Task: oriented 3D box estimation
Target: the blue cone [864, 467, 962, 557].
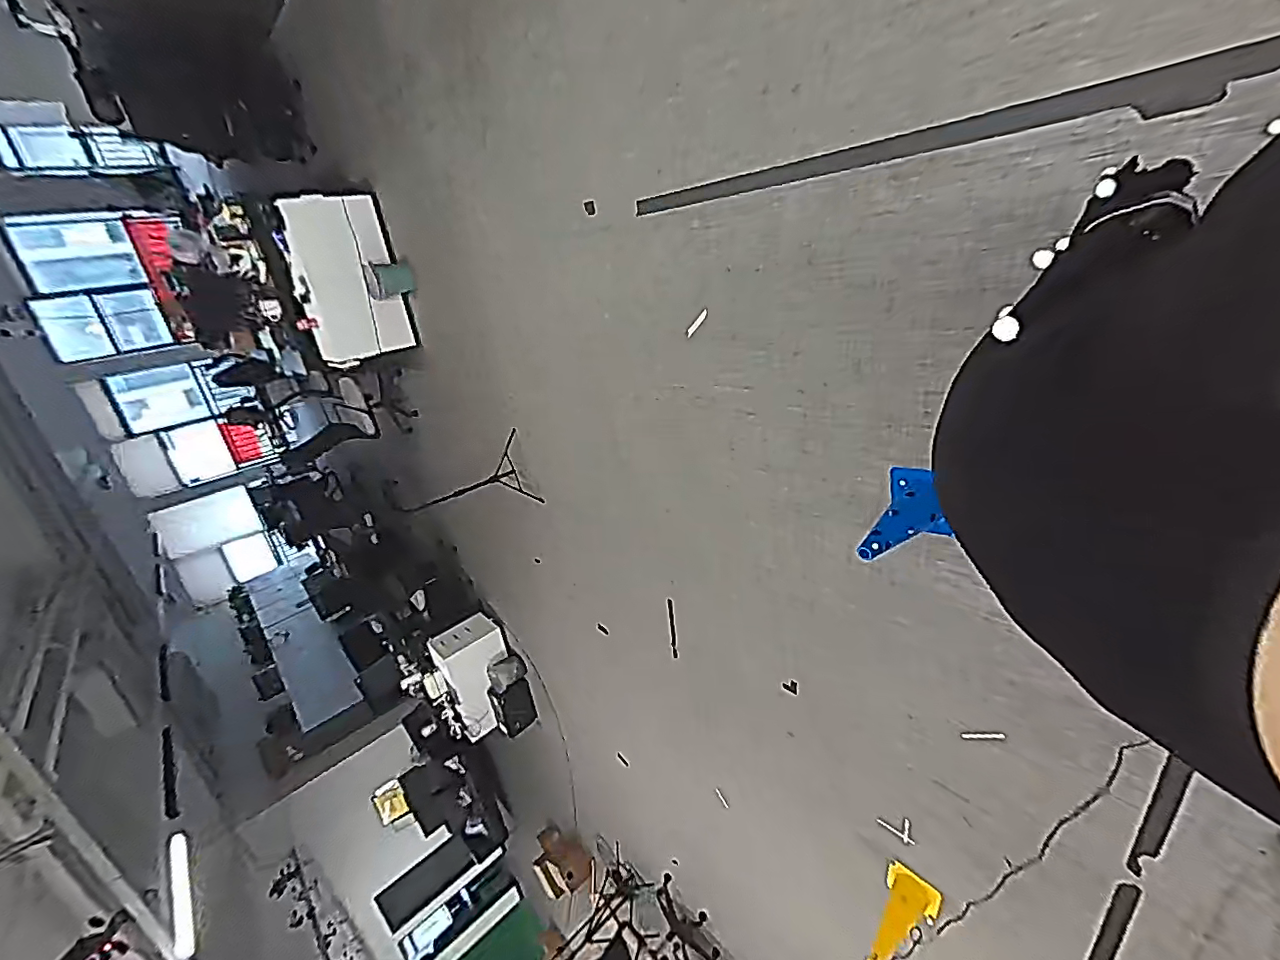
[{"bbox_3d":[0.705,0.111,1.464,0.192,0.380,0.193,12,120,48],"label":"blue cone"}]
